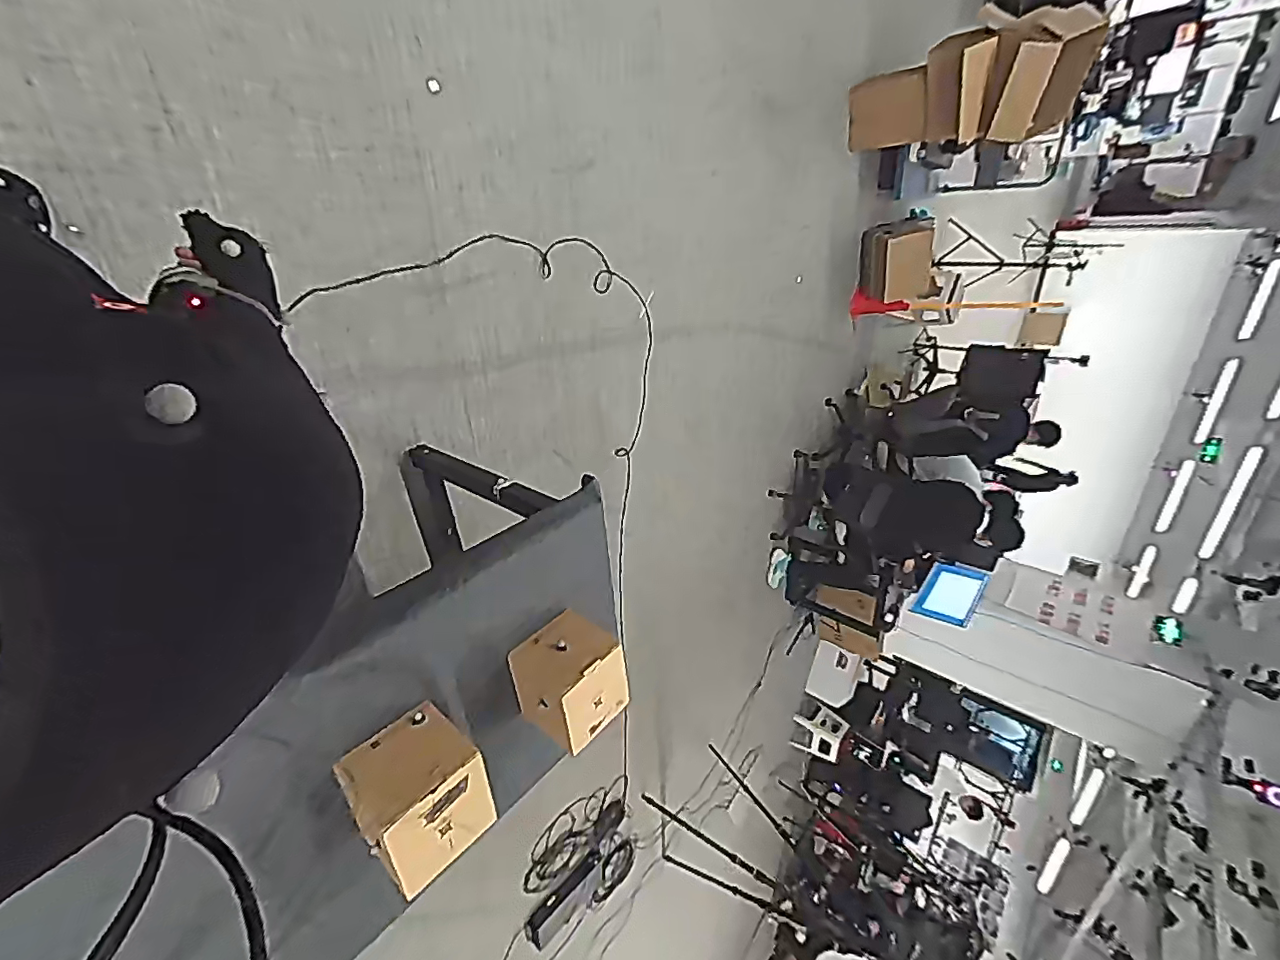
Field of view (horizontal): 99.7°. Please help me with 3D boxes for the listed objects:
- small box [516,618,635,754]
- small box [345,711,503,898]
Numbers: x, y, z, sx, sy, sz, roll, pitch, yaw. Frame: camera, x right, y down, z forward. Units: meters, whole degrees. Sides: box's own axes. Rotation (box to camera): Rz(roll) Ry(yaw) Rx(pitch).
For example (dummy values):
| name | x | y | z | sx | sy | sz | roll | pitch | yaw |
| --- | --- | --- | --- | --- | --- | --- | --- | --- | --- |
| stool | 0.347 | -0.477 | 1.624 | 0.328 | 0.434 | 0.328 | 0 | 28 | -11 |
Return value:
| name | x | y | z | sx | sy | sz | roll | pitch | yaw |
| --- | --- | --- | --- | --- | --- | --- | --- | --- | --- |
| small box | -0.133 | 0.408 | 1.112 | 0.168 | 0.176 | 0.179 | -31 | 126 | -39 |
| small box | -0.354 | 0.513 | 0.888 | 0.168 | 0.176 | 0.179 | -28 | 126 | -41 |
